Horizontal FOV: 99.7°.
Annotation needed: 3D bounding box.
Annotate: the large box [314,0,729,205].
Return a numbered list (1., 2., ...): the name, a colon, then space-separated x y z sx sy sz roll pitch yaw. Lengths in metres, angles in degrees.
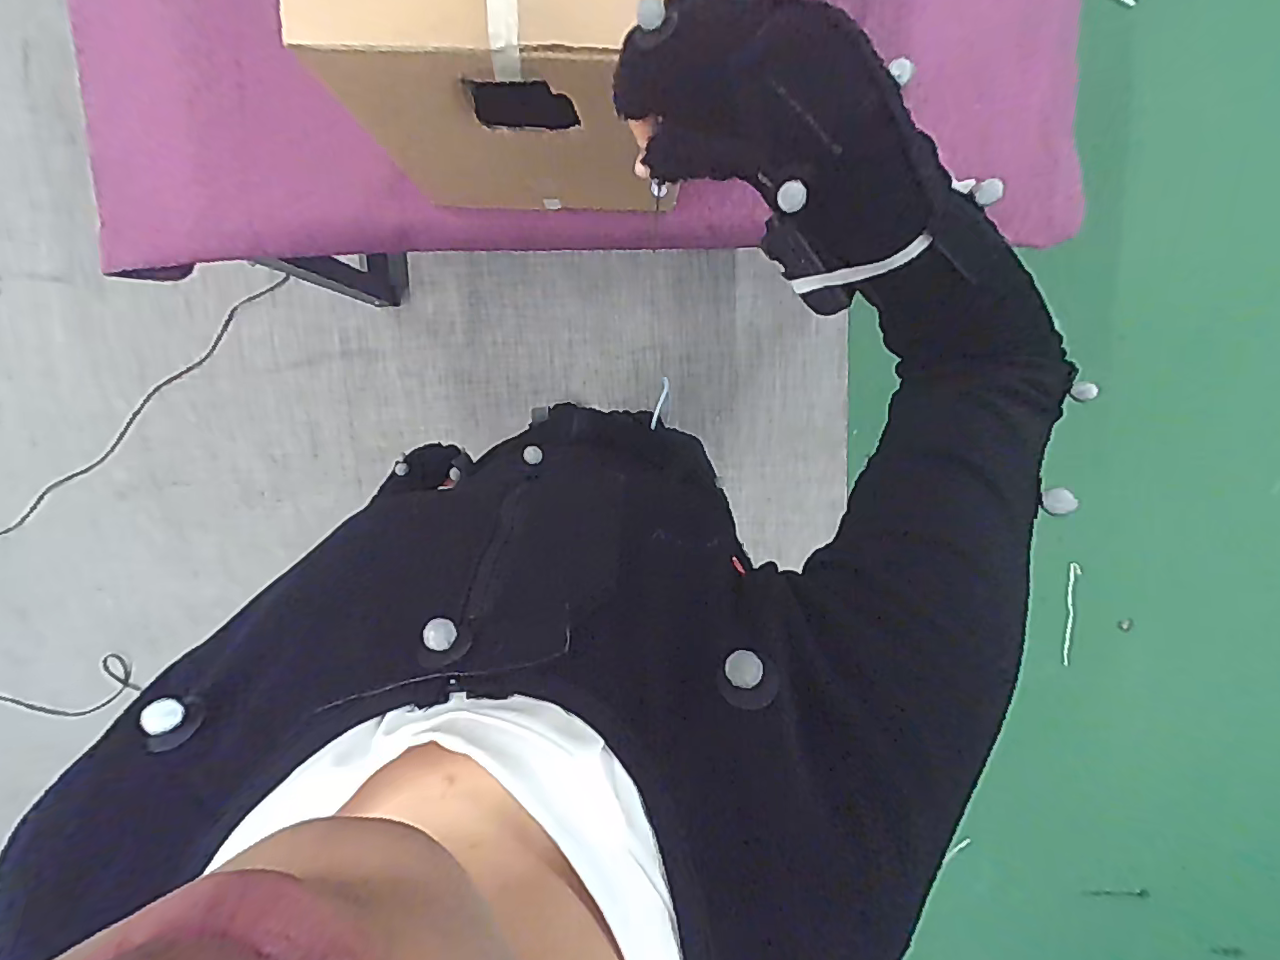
1. large box: -0.094 -0.534 0.523 0.320 0.320 0.408 1 99 -2
